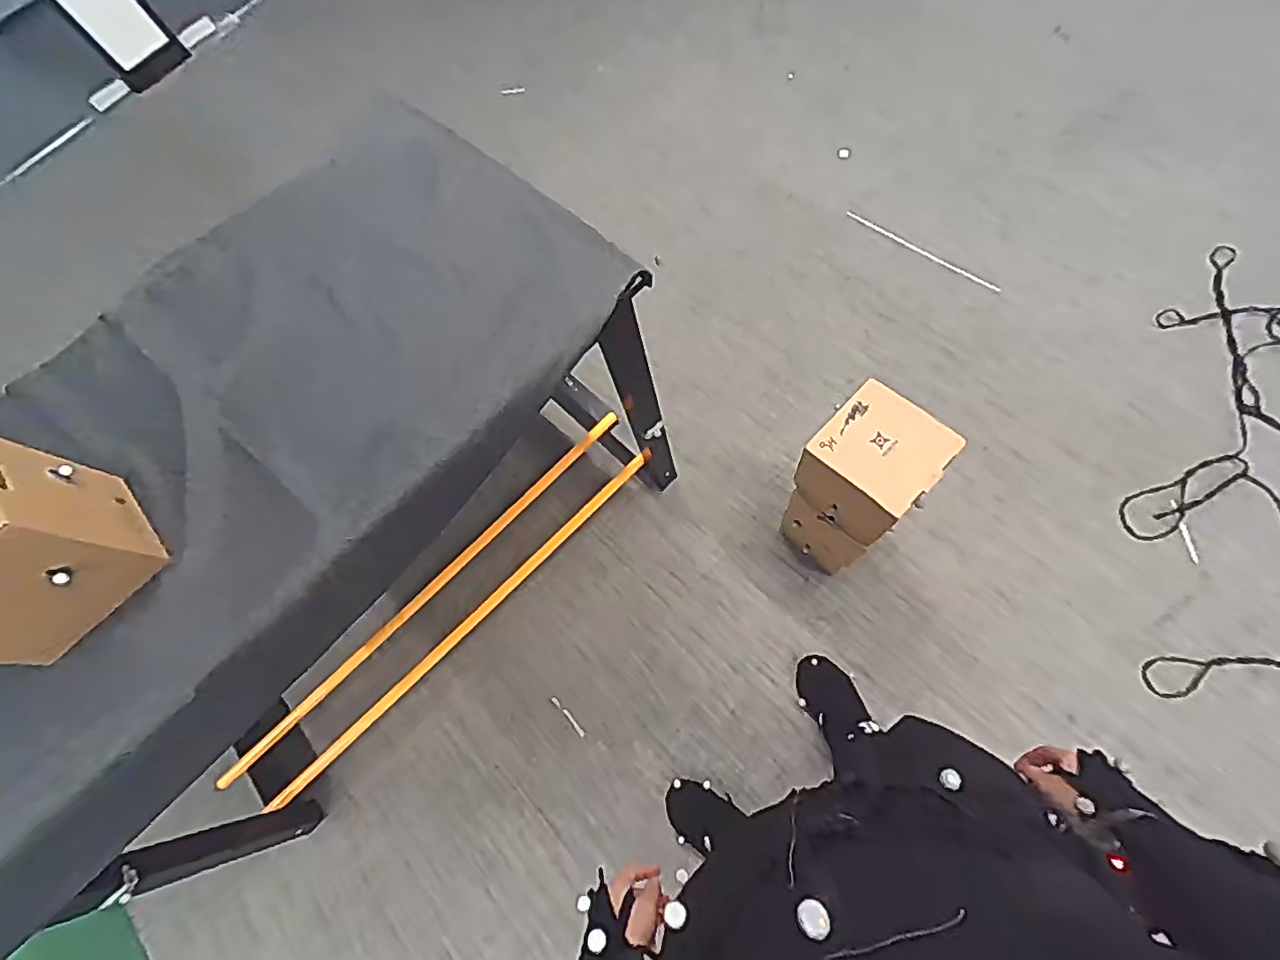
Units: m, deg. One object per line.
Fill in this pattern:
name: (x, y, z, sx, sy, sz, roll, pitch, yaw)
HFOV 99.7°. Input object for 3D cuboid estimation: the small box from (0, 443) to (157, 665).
small box: (-0.698, 0.082, 0.603, 0.168, 0.176, 0.179, 41, 80, 22)

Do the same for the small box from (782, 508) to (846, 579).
small box: (0.435, 0.093, 1.205, 0.179, 0.176, 0.168, -43, 68, -9)

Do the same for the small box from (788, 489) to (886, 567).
small box: (0.405, 0.045, 1.051, 0.168, 0.176, 0.179, 41, 79, 20)

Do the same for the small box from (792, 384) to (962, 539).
small box: (0.380, -0.019, 0.902, 0.168, 0.176, 0.179, -44, 70, -10)
